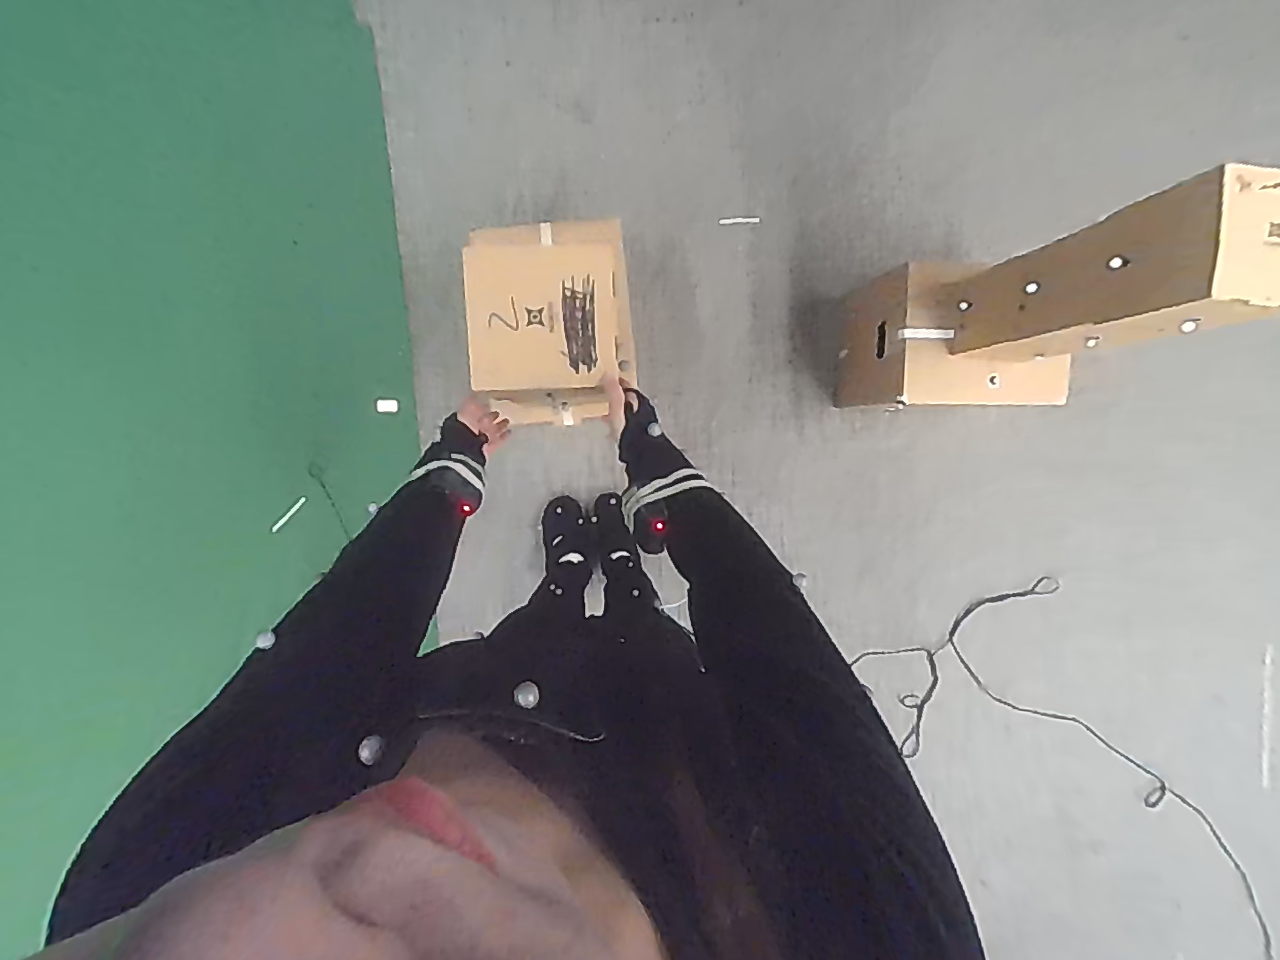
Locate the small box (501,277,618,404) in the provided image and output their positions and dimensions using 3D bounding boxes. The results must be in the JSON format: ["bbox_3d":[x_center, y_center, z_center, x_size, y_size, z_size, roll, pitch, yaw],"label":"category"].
[{"bbox_3d":[-0.124,-0.216,0.877,0.168,0.176,0.179,-4,95,-6],"label":"small box"}]

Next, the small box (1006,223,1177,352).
[{"bbox_3d":[0.799,-0.328,0.955,0.179,0.176,0.168,5,93,-5],"label":"small box"}]

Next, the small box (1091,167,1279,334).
[{"bbox_3d":[0.813,-0.319,0.791,0.168,0.176,0.179,4,94,-7],"label":"small box"}]

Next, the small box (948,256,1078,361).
[{"bbox_3d":[0.780,-0.343,1.117,0.179,0.176,0.168,4,93,-6],"label":"small box"}]

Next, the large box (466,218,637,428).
[{"bbox_3d":[-0.192,-0.340,1.269,0.320,0.320,0.408,-6,95,-5],"label":"large box"}]
